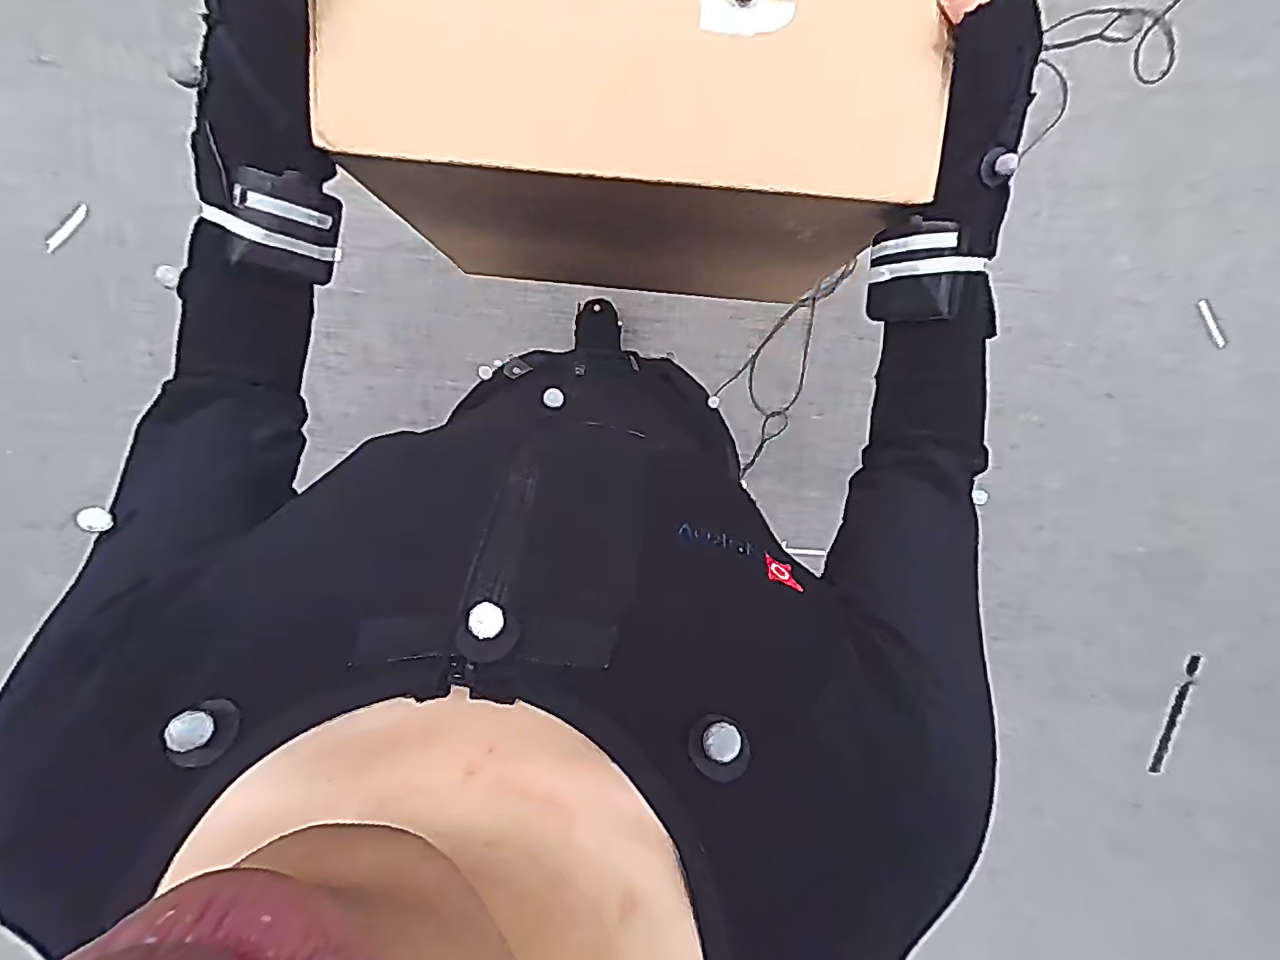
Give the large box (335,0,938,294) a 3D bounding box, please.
[{"bbox_3d":[-0.001,-0.375,0.501,0.408,0.320,0.320,4,96,-2],"label":"large box"}]
